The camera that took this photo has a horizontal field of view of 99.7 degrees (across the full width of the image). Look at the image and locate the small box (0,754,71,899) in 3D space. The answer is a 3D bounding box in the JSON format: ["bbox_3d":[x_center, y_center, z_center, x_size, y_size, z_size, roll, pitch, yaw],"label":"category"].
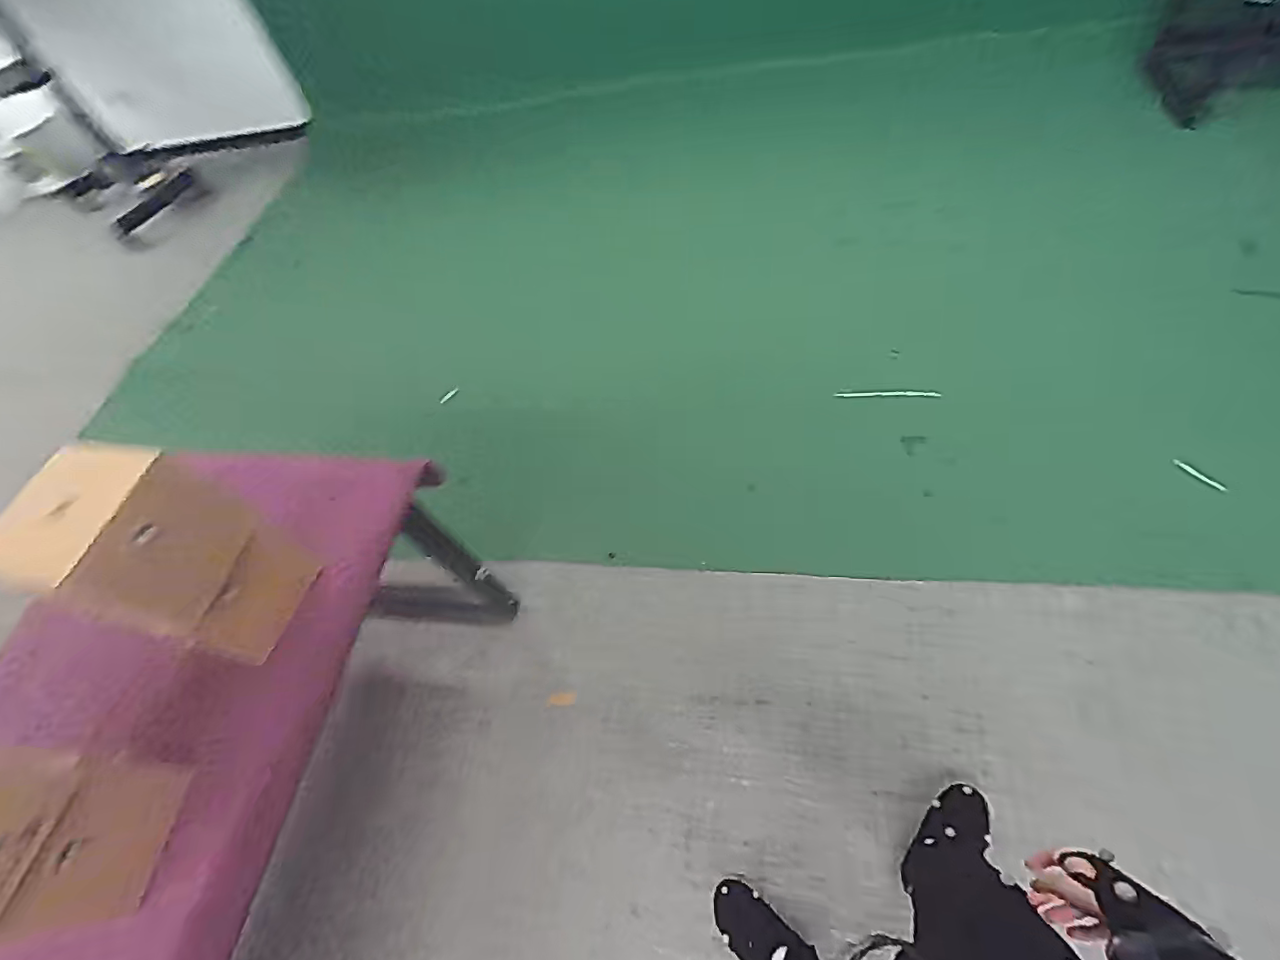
[{"bbox_3d":[-0.752,0.357,0.530,0.179,0.176,0.168,2,59,13],"label":"small box"}]

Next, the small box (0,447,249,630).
[{"bbox_3d":[-0.657,0.079,0.689,0.168,0.176,0.179,5,60,15],"label":"small box"}]

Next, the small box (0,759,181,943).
[{"bbox_3d":[-0.732,0.448,0.666,0.168,0.176,0.179,-4,57,9],"label":"small box"}]

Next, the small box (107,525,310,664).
[{"bbox_3d":[-0.656,0.162,0.833,0.168,0.176,0.179,9,62,18],"label":"small box"}]
